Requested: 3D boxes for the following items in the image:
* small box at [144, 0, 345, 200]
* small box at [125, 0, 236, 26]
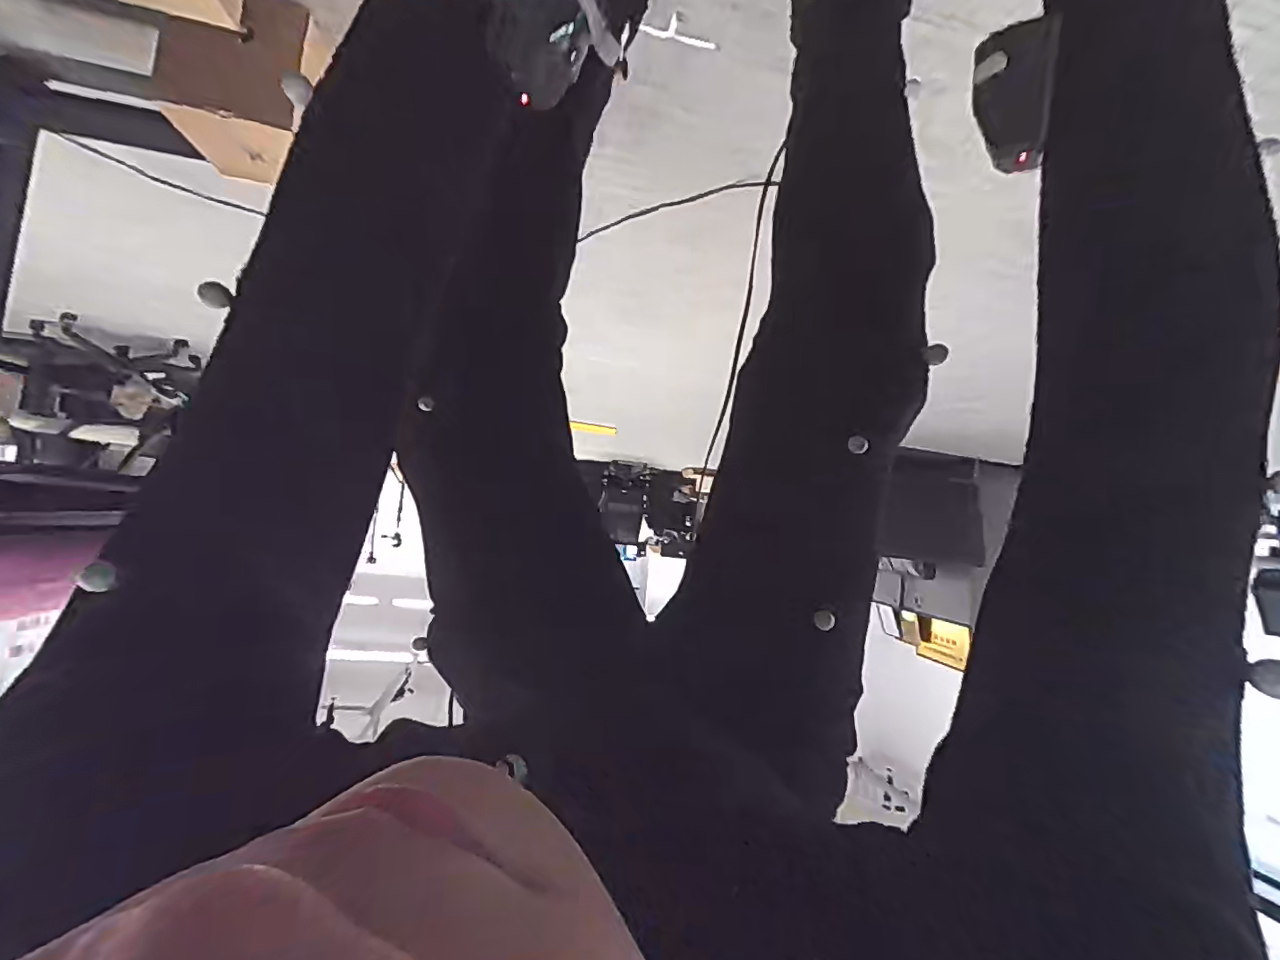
[{"bbox_3d":[-0.545,-0.544,0.774,0.168,0.176,0.179,7,176,-10],"label":"small box"},{"bbox_3d":[-0.469,-0.557,0.457,0.168,0.176,0.179,8,177,-11],"label":"small box"}]
